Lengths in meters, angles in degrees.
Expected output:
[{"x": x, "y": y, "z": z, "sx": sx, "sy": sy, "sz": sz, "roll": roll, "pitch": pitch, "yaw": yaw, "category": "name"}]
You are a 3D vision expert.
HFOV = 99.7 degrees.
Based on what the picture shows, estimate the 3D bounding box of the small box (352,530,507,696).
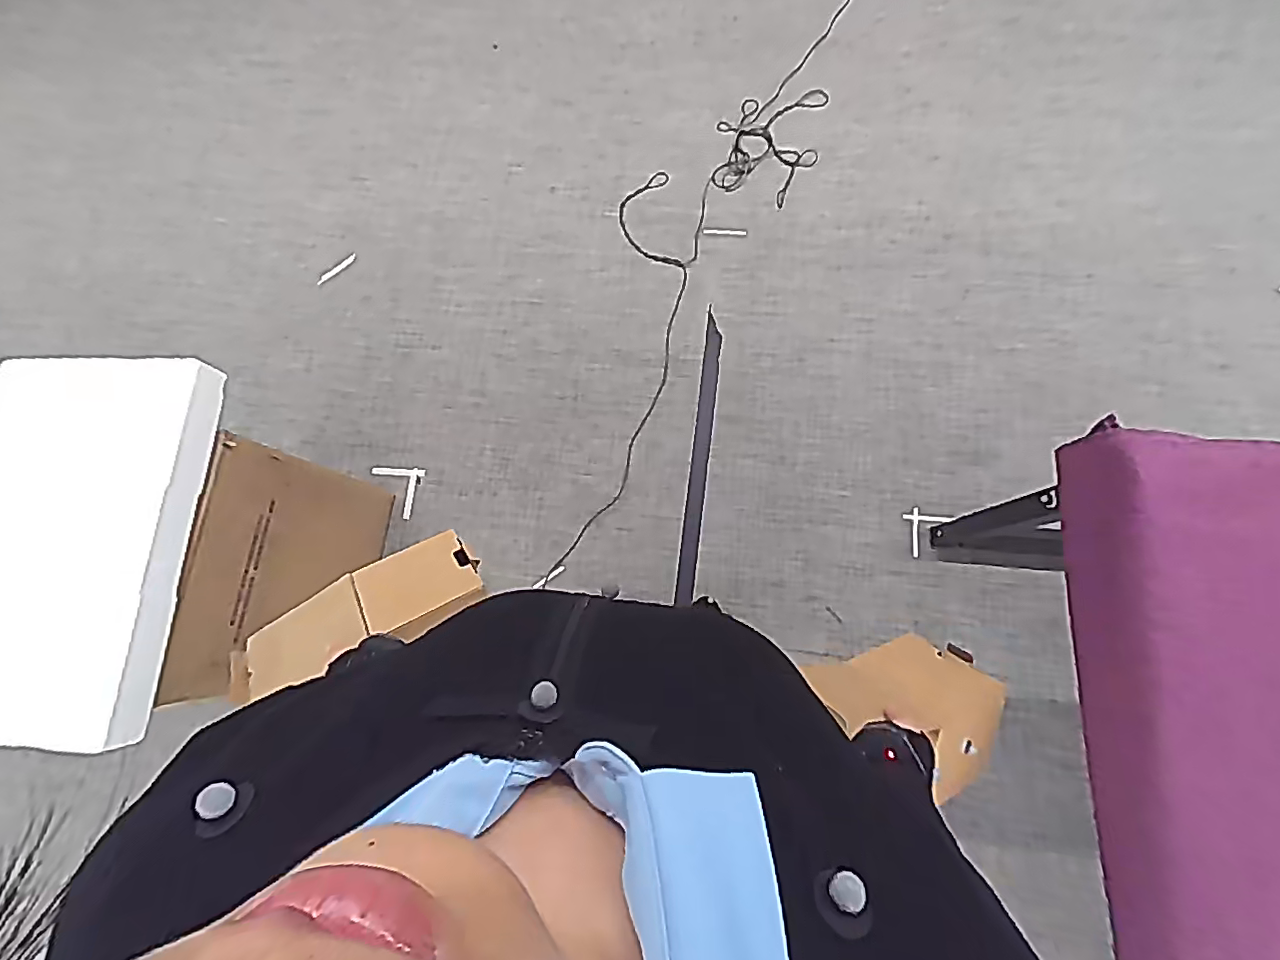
[{"x": -0.346, "y": 0.221, "z": 0.901, "sx": 0.179, "sy": 0.176, "sz": 0.168, "roll": -25, "pitch": 42, "yaw": -22, "category": "small box"}]
